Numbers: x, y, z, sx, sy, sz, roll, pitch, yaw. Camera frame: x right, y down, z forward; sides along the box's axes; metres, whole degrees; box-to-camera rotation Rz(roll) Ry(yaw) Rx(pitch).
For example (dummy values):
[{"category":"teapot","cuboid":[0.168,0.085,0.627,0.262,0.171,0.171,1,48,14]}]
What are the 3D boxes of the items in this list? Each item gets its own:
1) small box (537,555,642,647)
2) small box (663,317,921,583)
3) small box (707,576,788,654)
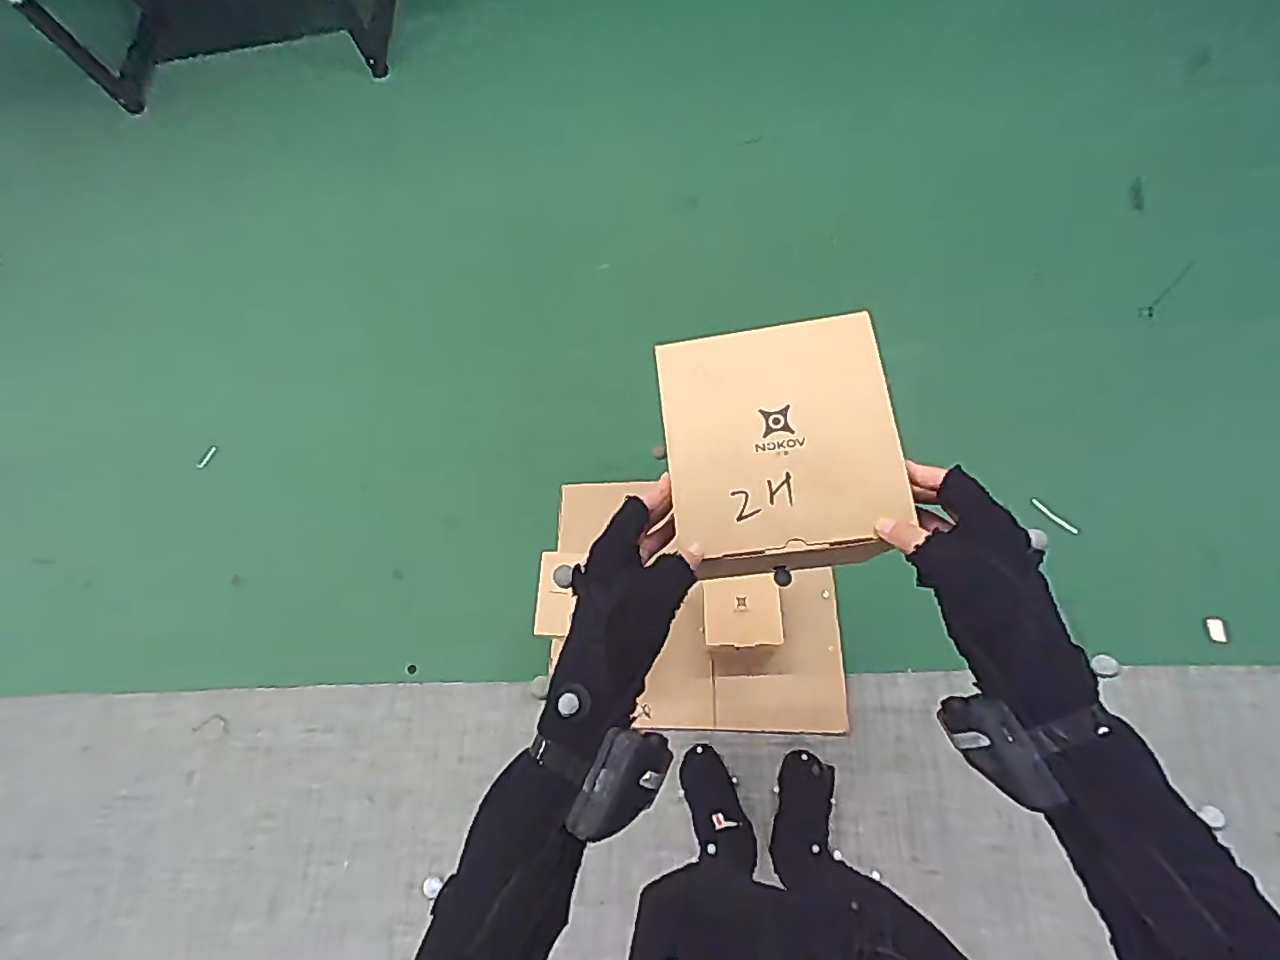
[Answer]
[{"category":"small box","cuboid":[-0.095,0.256,1.127,0.179,0.176,0.168,0,70,11]},{"category":"small box","cuboid":[0.116,-0.011,0.473,0.168,0.176,0.179,-8,74,8]},{"category":"small box","cuboid":[0.238,0.303,1.237,0.168,0.176,0.179,-4,70,8]}]
